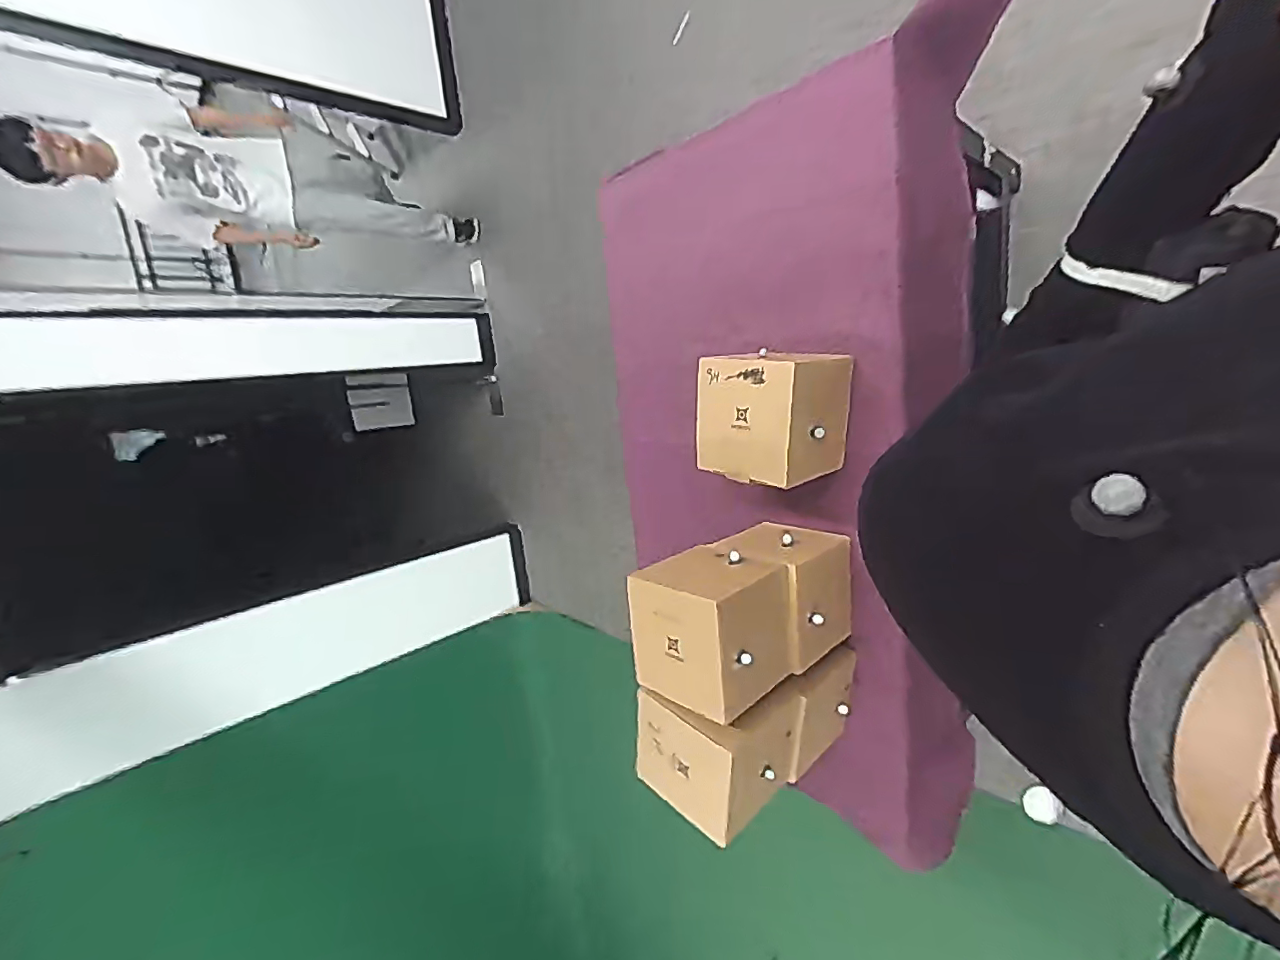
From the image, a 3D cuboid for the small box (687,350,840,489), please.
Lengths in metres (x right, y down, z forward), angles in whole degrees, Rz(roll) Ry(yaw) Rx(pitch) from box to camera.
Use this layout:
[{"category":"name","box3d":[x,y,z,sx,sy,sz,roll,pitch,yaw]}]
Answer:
[{"category":"small box","box3d":[0.189,-0.102,0.827,0.168,0.176,0.179,15,113,43]}]
